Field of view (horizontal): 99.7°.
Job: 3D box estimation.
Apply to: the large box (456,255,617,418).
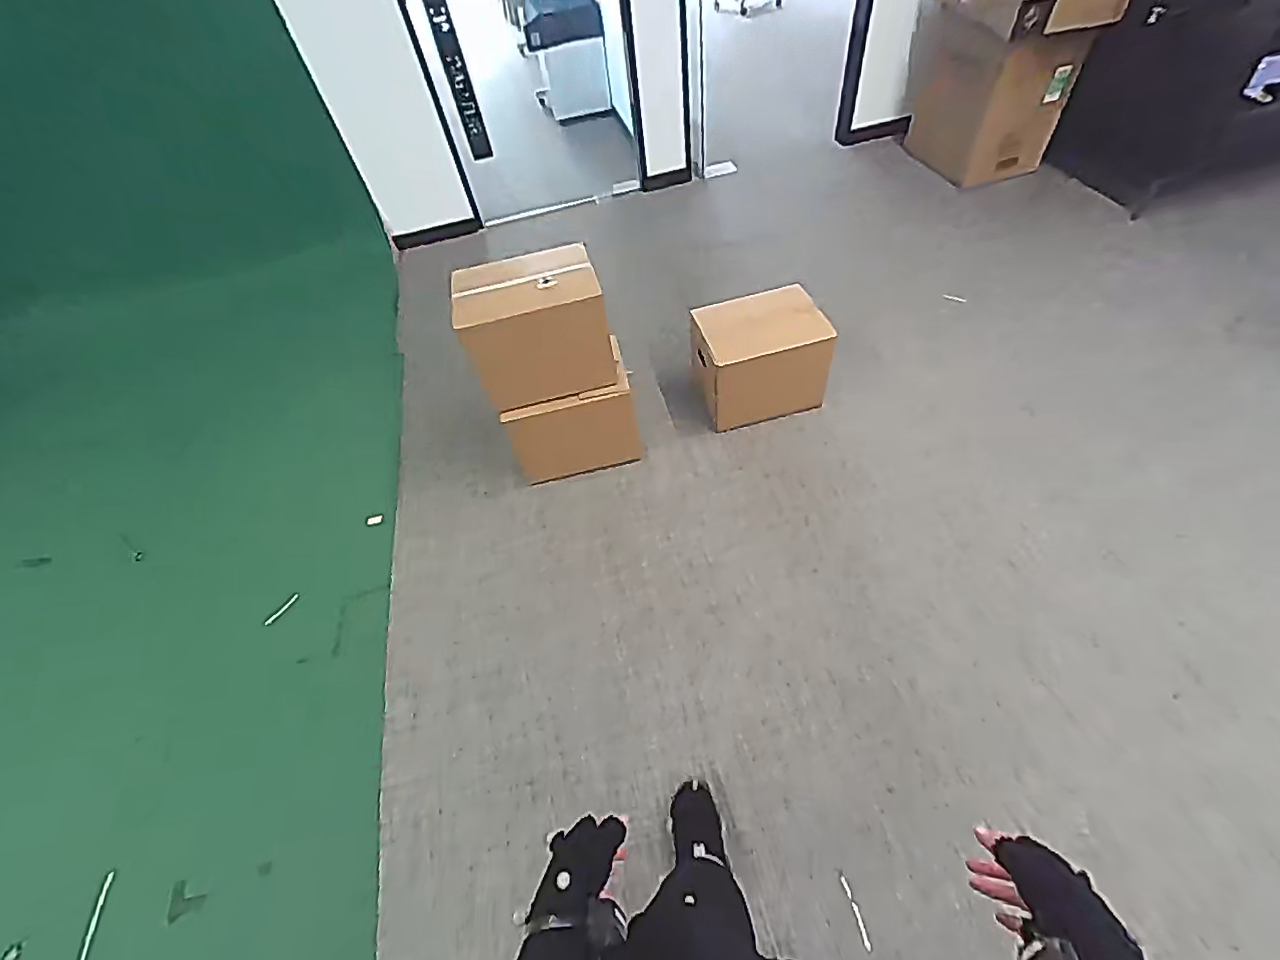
[{"bbox_3d":[-0.308,-0.433,1.636,0.408,0.320,0.320,-13,48,-4],"label":"large box"}]
